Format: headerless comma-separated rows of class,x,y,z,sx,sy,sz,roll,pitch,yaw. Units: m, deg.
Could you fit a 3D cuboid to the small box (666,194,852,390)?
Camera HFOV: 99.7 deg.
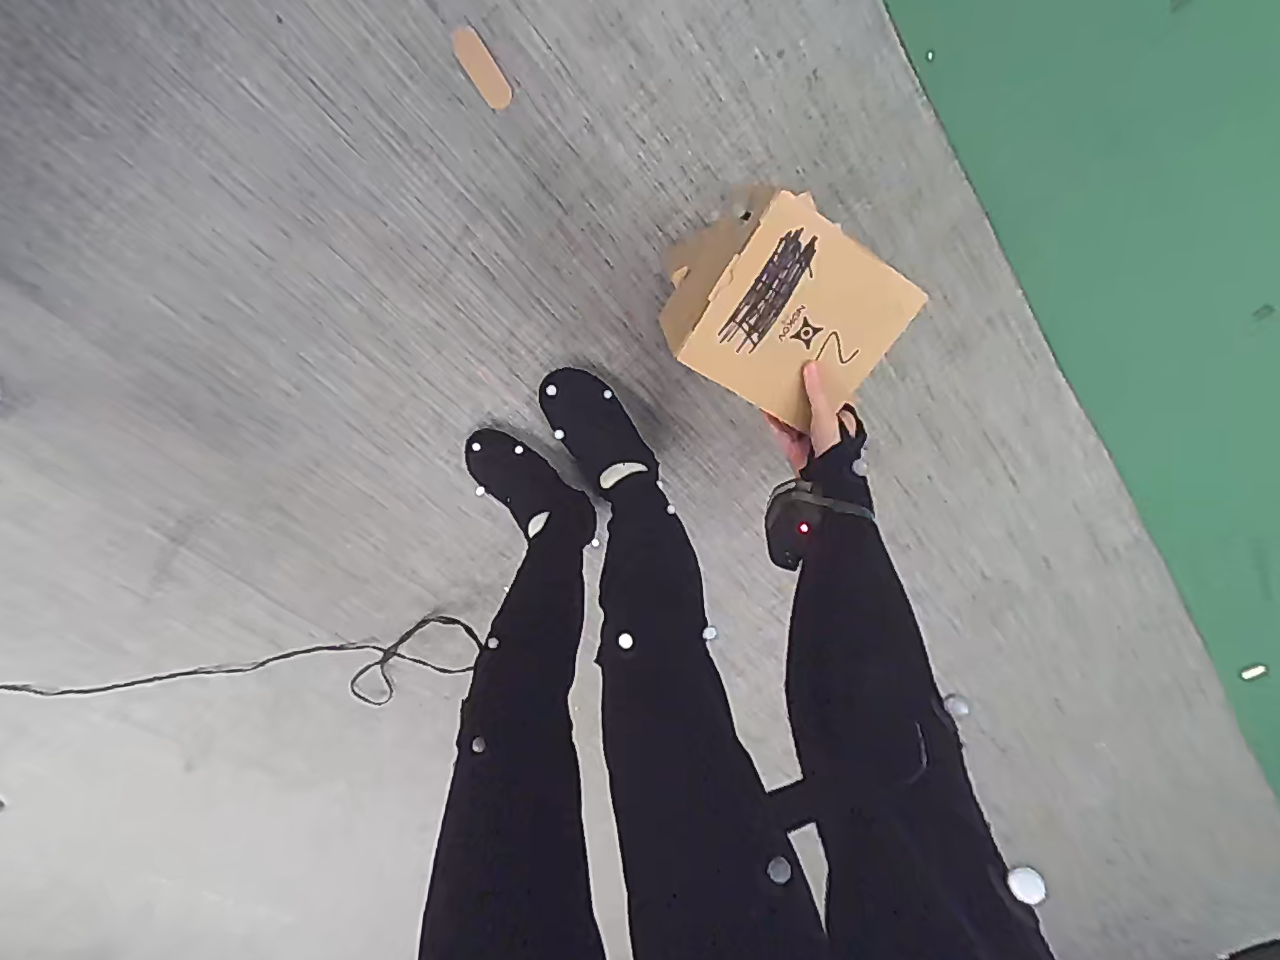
small box,0.145,-0.252,0.715,0.179,0.176,0.168,-28,118,13
